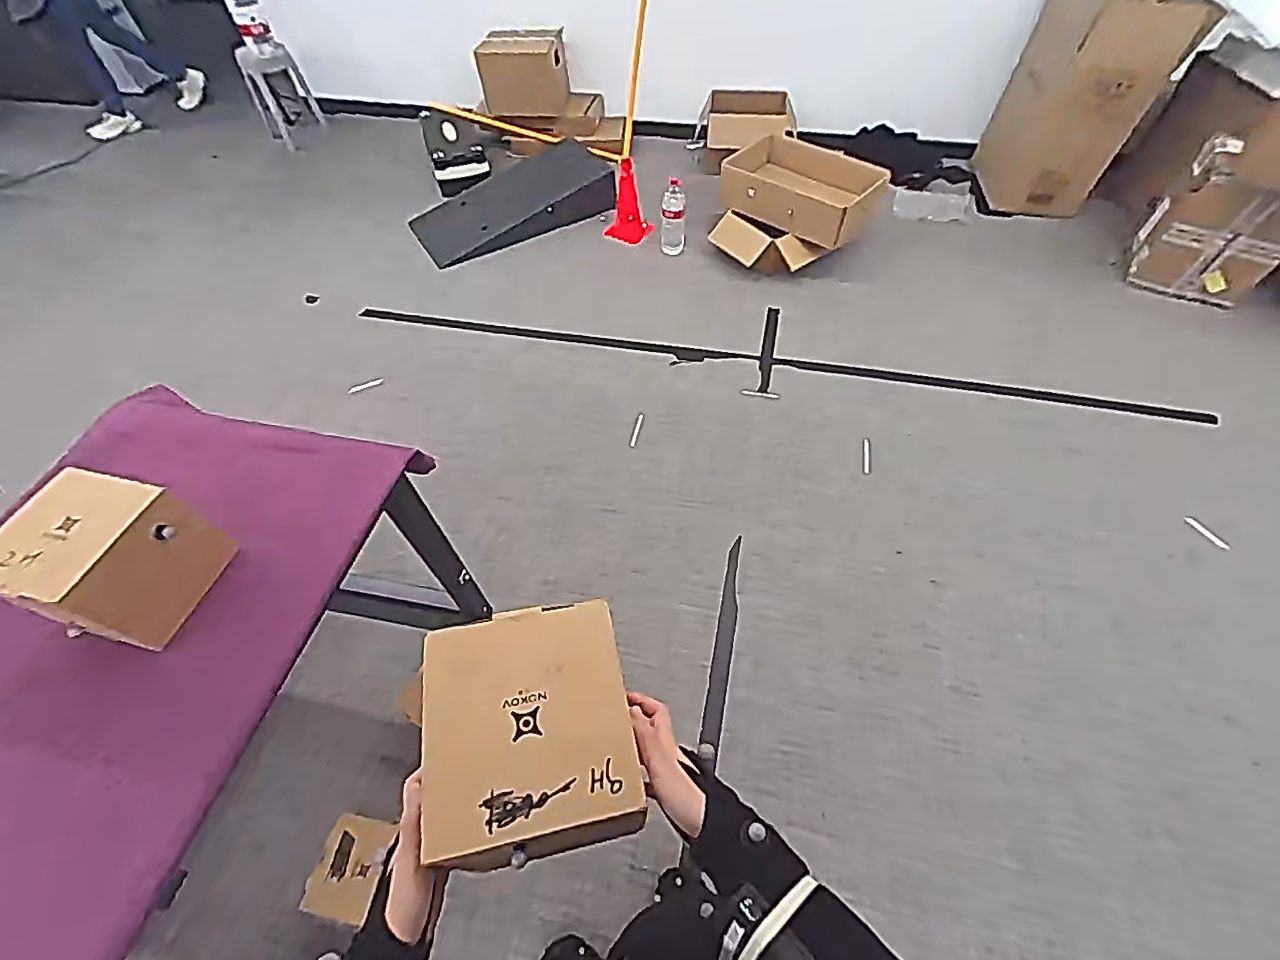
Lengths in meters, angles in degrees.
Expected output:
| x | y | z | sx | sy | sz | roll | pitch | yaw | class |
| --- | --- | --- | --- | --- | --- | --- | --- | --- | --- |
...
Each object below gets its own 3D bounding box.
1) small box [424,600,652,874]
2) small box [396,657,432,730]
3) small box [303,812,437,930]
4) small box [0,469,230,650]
| x | y | z | sx | sy | sz | roll | pitch | yaw | class |
| --- | --- | --- | --- | --- | --- | --- | --- | --- | --- |
| -0.089 | 0.239 | 0.501 | 0.168 | 0.176 | 0.179 | -9 | 53 | -8 | small box |
| -0.460 | 0.541 | 1.343 | 0.168 | 0.176 | 0.179 | 24 | 60 | 17 | small box |
| -0.552 | 0.822 | 1.144 | 0.179 | 0.176 | 0.168 | 9 | 56 | 7 | small box |
| -0.732 | 0.114 | 0.758 | 0.168 | 0.176 | 0.179 | 10 | 56 | 10 | small box |
